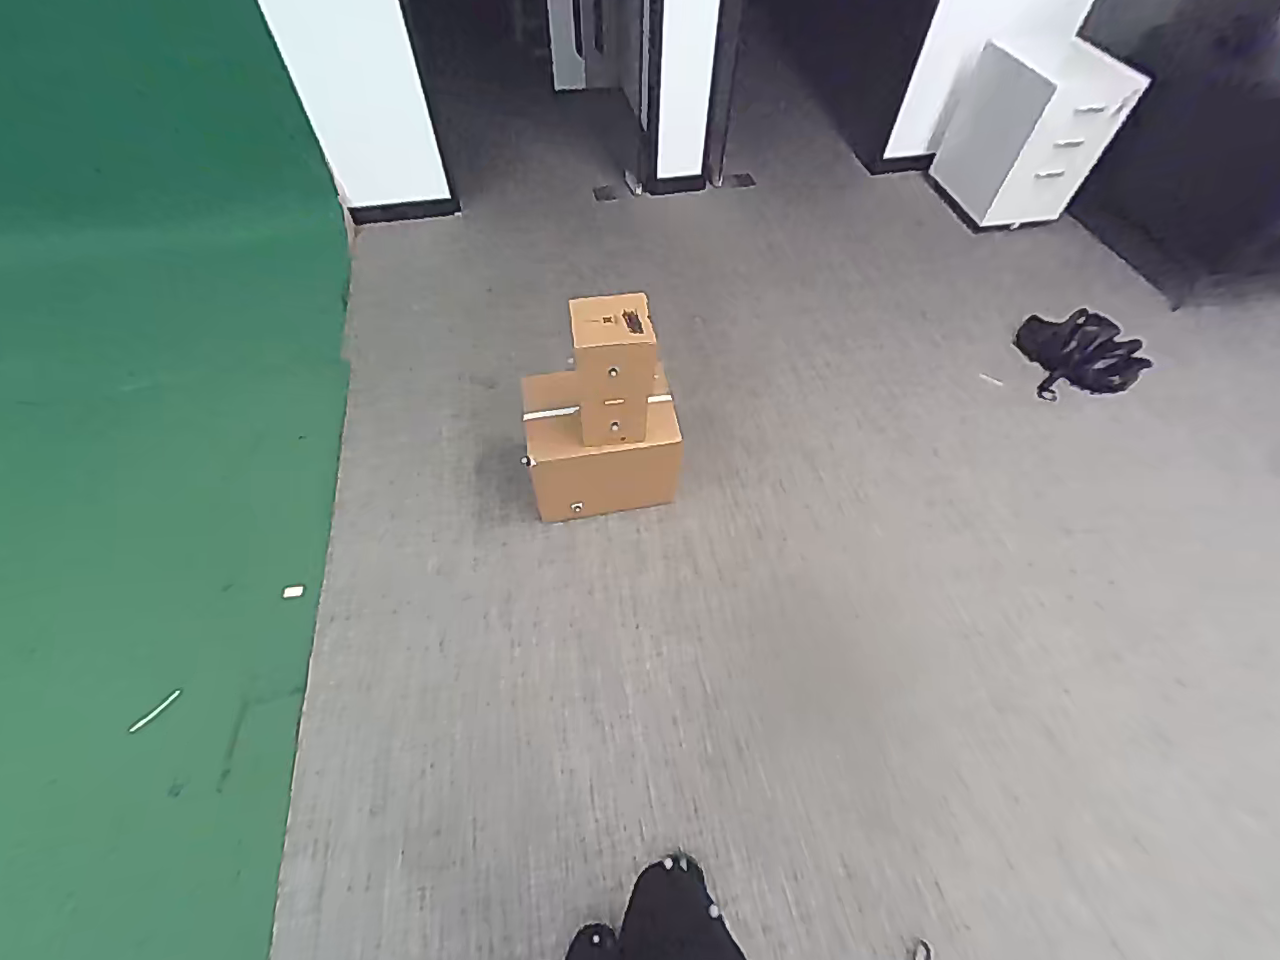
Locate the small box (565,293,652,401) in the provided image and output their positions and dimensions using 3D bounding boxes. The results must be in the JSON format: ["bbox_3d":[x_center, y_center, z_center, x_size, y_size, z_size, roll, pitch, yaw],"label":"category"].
[{"bbox_3d":[-0.071,-0.301,1.240,0.179,0.176,0.168,-8,56,-4],"label":"small box"}]

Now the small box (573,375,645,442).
[{"bbox_3d":[-0.079,-0.210,1.378,0.168,0.176,0.179,-7,57,-5],"label":"small box"}]
